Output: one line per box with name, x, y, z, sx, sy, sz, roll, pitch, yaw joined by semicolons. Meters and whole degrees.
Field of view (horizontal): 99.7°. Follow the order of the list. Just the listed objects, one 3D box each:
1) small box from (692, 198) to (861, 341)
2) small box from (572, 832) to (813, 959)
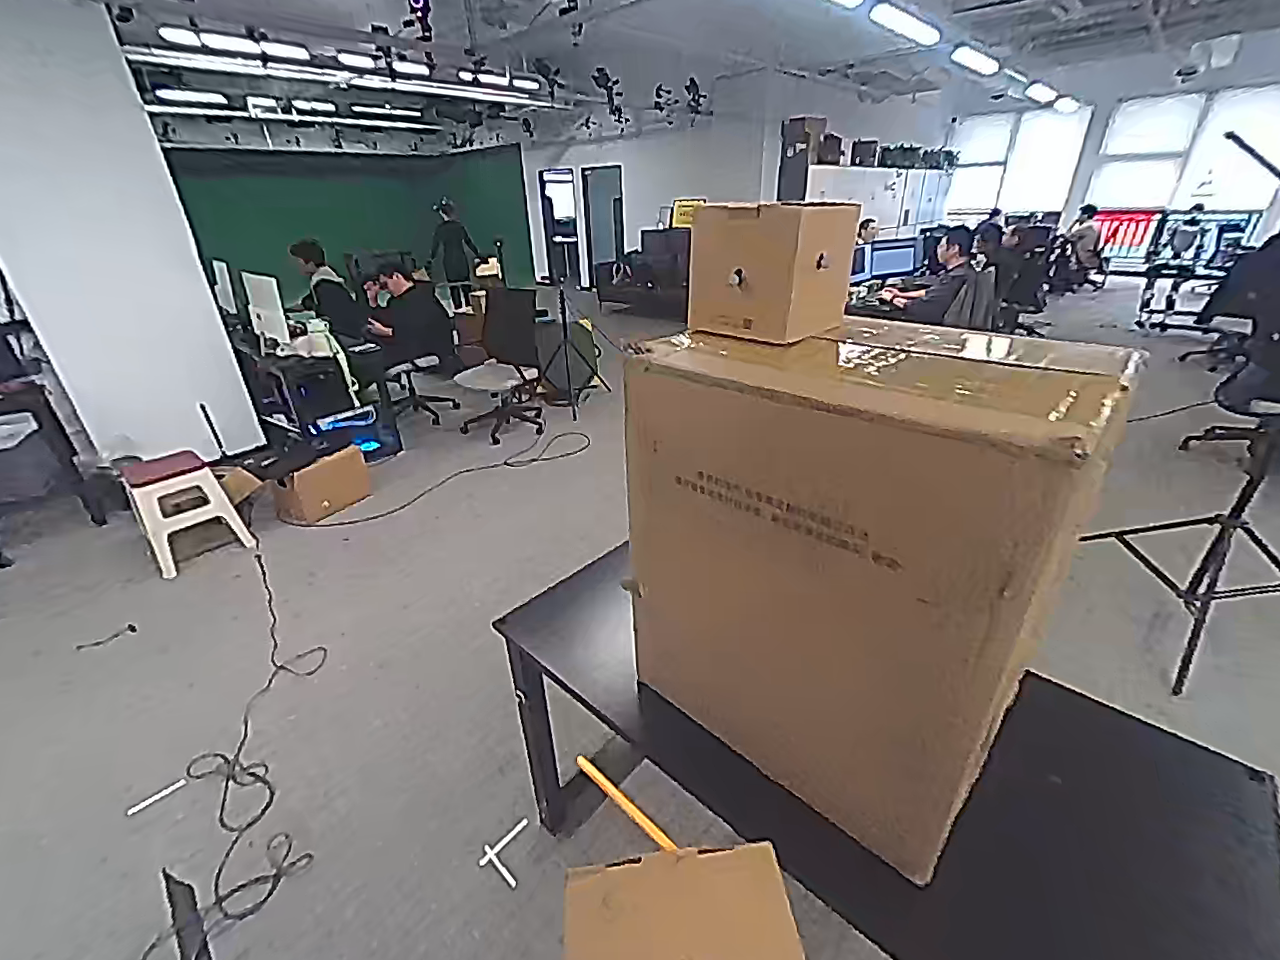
small box;0.191;-0.302;0.770;0.168;0.176;0.179;22;35;37
small box;0.035;0.397;0.396;0.168;0.176;0.179;-3;35;-6
